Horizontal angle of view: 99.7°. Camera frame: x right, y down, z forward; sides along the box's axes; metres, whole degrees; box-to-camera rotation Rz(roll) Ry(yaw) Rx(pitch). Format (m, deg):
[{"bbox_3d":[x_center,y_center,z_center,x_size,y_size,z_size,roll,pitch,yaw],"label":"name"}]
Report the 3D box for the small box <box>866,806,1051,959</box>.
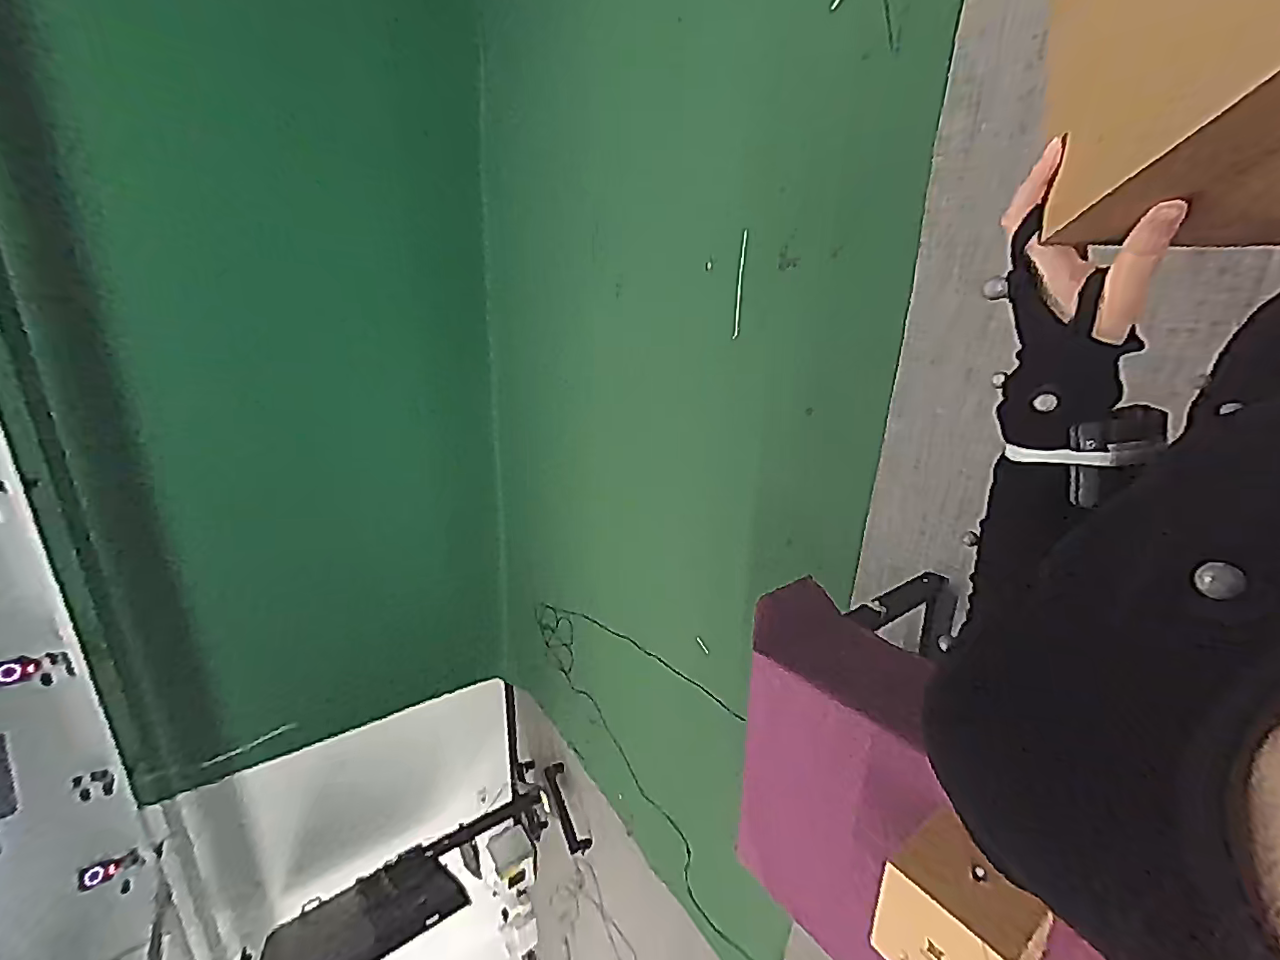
[{"bbox_3d":[0.465,0.630,0.792,0.168,0.176,0.179,25,119,51],"label":"small box"}]
